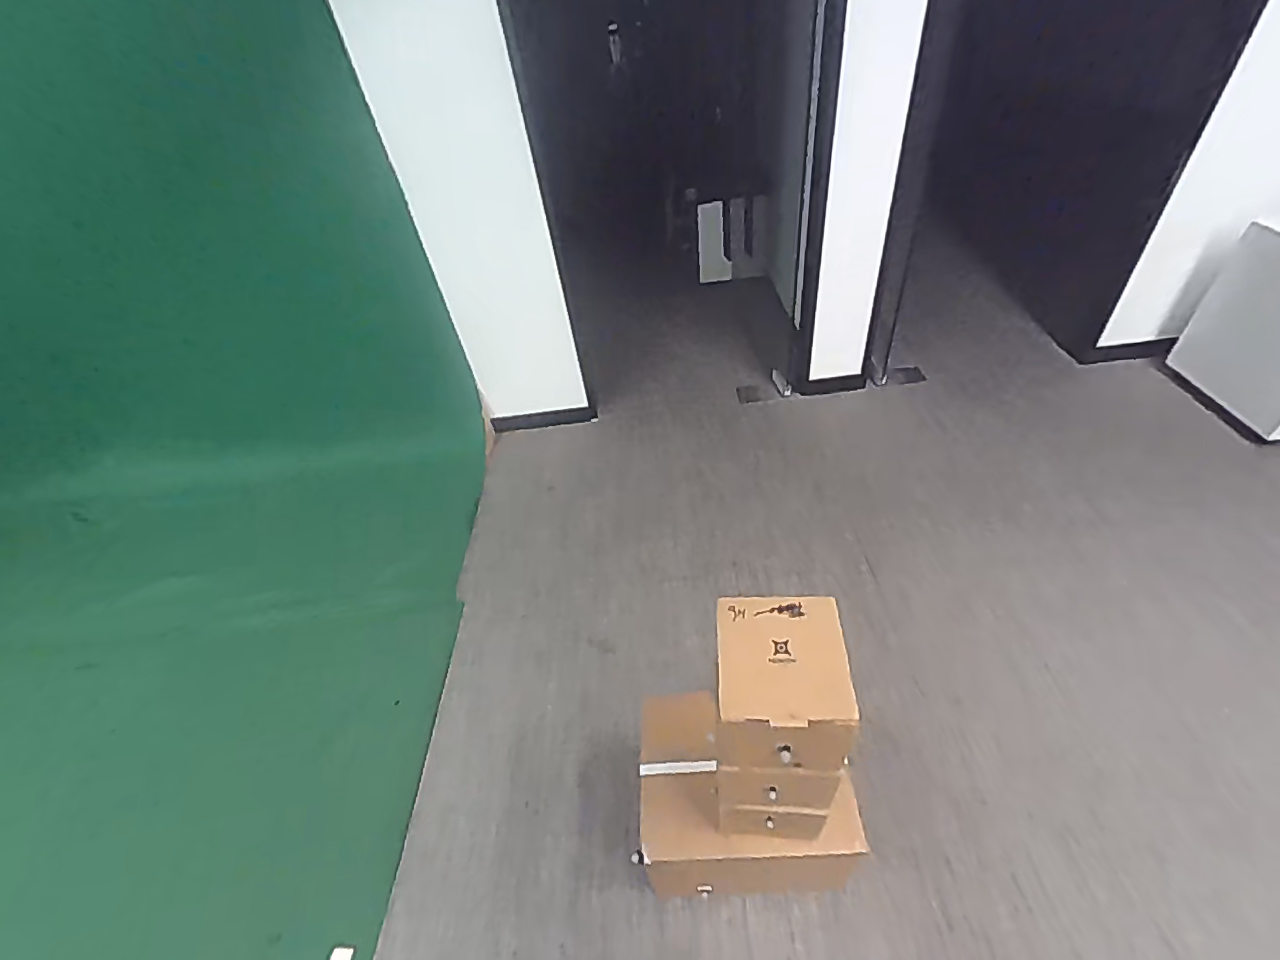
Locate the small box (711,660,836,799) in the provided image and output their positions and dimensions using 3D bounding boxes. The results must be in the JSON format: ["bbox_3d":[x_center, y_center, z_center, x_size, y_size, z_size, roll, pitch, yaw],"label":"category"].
[{"bbox_3d":[0.207,0.402,0.876,0.179,0.176,0.168,-3,45,10],"label":"small box"}]

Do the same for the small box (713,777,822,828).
[{"bbox_3d":[0.225,0.520,0.988,0.179,0.176,0.168,0,46,8],"label":"small box"}]

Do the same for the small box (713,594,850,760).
[{"bbox_3d":[0.190,0.281,0.767,0.168,0.176,0.179,-2,46,9],"label":"small box"}]
